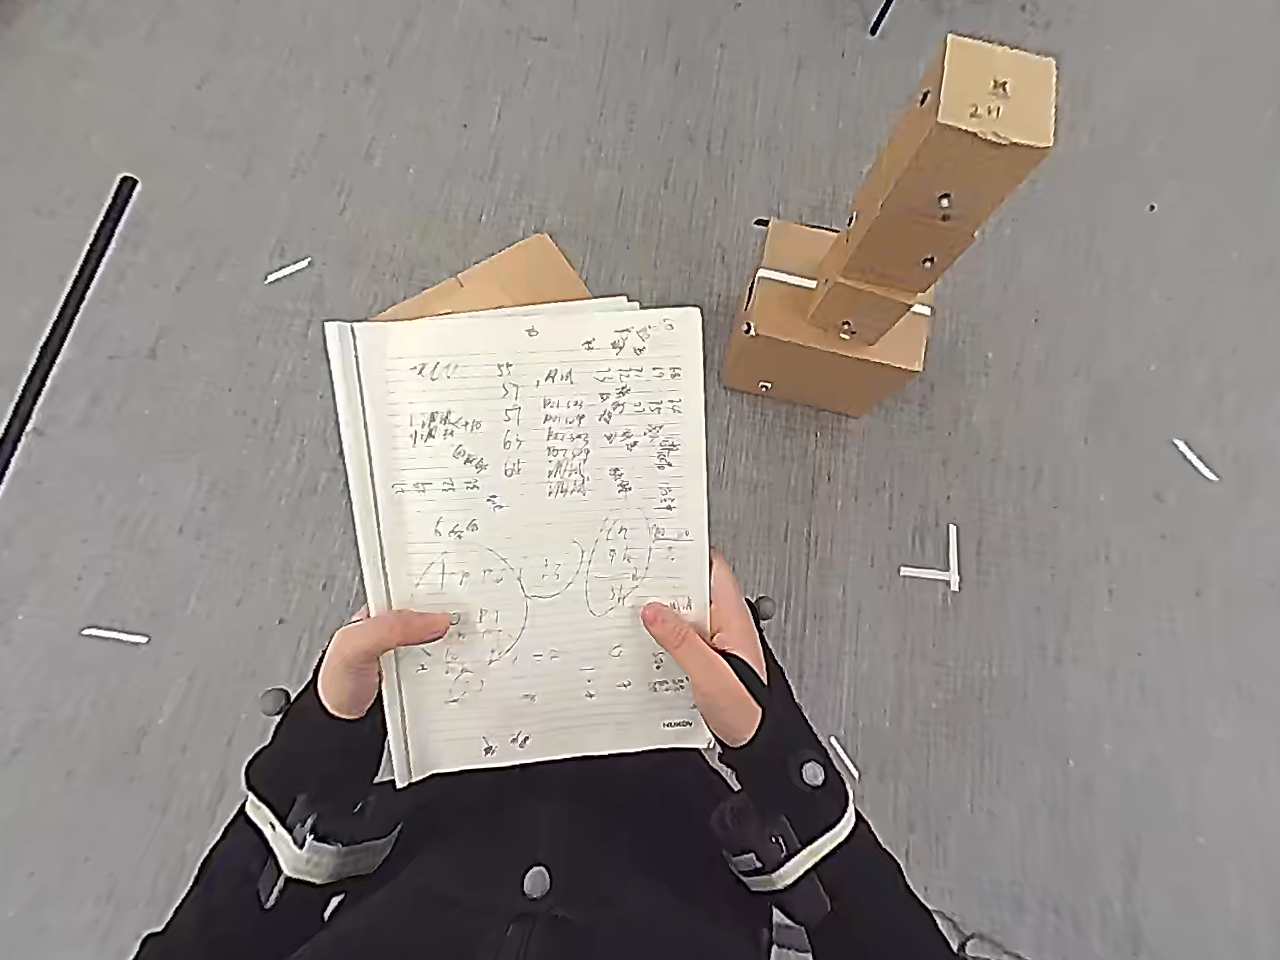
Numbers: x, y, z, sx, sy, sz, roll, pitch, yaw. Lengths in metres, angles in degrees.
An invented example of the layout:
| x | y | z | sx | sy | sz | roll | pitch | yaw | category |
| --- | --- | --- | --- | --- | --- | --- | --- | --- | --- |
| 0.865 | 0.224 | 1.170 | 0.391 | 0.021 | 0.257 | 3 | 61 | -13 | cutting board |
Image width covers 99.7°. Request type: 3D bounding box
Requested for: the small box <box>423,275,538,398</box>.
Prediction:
| x | y | z | sx | sy | sz | roll | pitch | yaw | category |
| --- | --- | --- | --- | --- | --- | --- | --- | --- | --- |
| -0.348 | -0.314 | 1.218 | 0.179 | 0.176 | 0.168 | -34 | 81 | -12 | small box |

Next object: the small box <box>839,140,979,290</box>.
| x | y | z | sx | sy | sz | roll | pitch | yaw | category |
| --- | --- | --- | --- | --- | --- | --- | --- | --- | --- |
| 0.492 | -0.477 | 0.997 | 0.179 | 0.176 | 0.168 | 12 | 75 | 1 | small box |

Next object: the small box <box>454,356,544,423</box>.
| x | y | z | sx | sy | sz | roll | pitch | yaw | category |
| --- | --- | --- | --- | --- | --- | --- | --- | --- | --- |
| -0.359 | -0.274 | 1.378 | 0.179 | 0.176 | 0.168 | -35 | 81 | -12 | small box |

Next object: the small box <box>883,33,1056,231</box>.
| x | y | z | sx | sy | sz | roll | pitch | yaw | category |
| --- | --- | --- | --- | --- | --- | --- | --- | --- | --- |
| 0.501 | -0.530 | 0.840 | 0.168 | 0.176 | 0.179 | 14 | 75 | 1 | small box |
